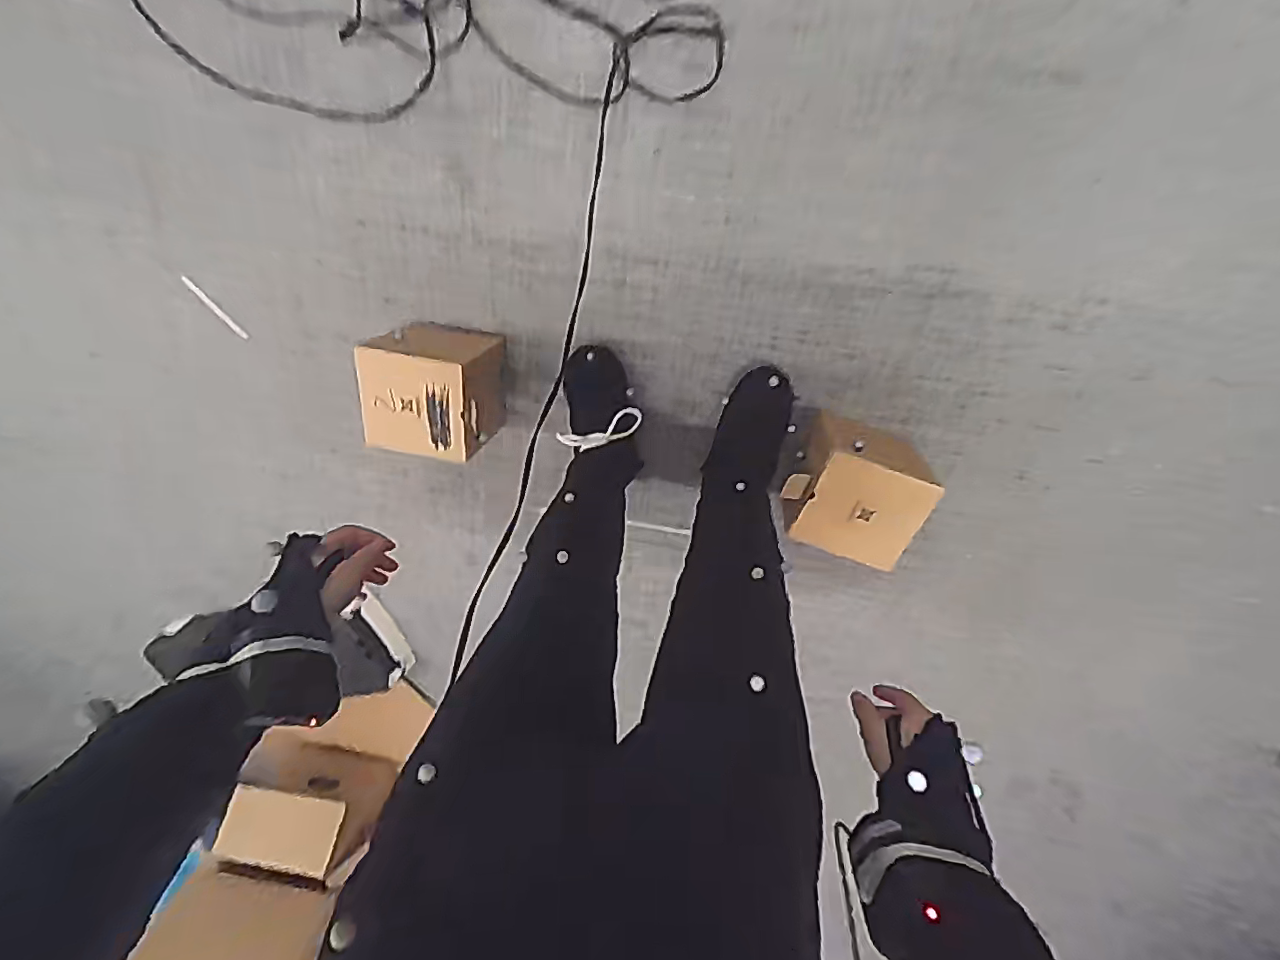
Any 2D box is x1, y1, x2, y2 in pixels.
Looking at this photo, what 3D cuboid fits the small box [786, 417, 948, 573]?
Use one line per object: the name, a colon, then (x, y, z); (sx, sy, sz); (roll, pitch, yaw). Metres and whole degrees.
small box: (0.356, 0.017, 0.887); (0.179, 0.176, 0.168); (20, 119, 0)
